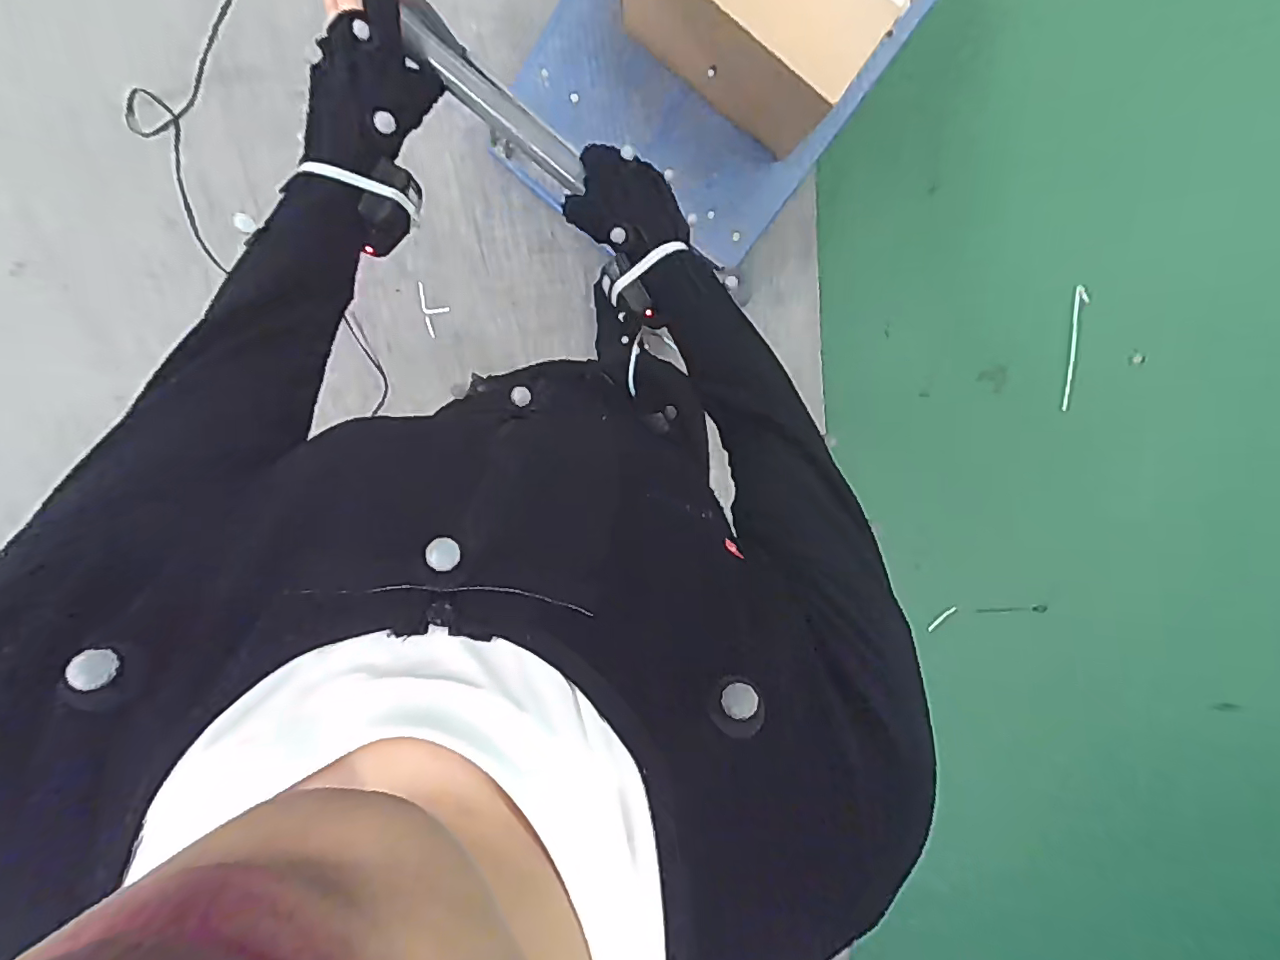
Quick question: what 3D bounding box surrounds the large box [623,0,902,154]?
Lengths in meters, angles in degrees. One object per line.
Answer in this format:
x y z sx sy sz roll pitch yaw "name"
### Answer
0.217 -0.847 0.909 0.408 0.320 0.320 34 103 -10 "large box"
